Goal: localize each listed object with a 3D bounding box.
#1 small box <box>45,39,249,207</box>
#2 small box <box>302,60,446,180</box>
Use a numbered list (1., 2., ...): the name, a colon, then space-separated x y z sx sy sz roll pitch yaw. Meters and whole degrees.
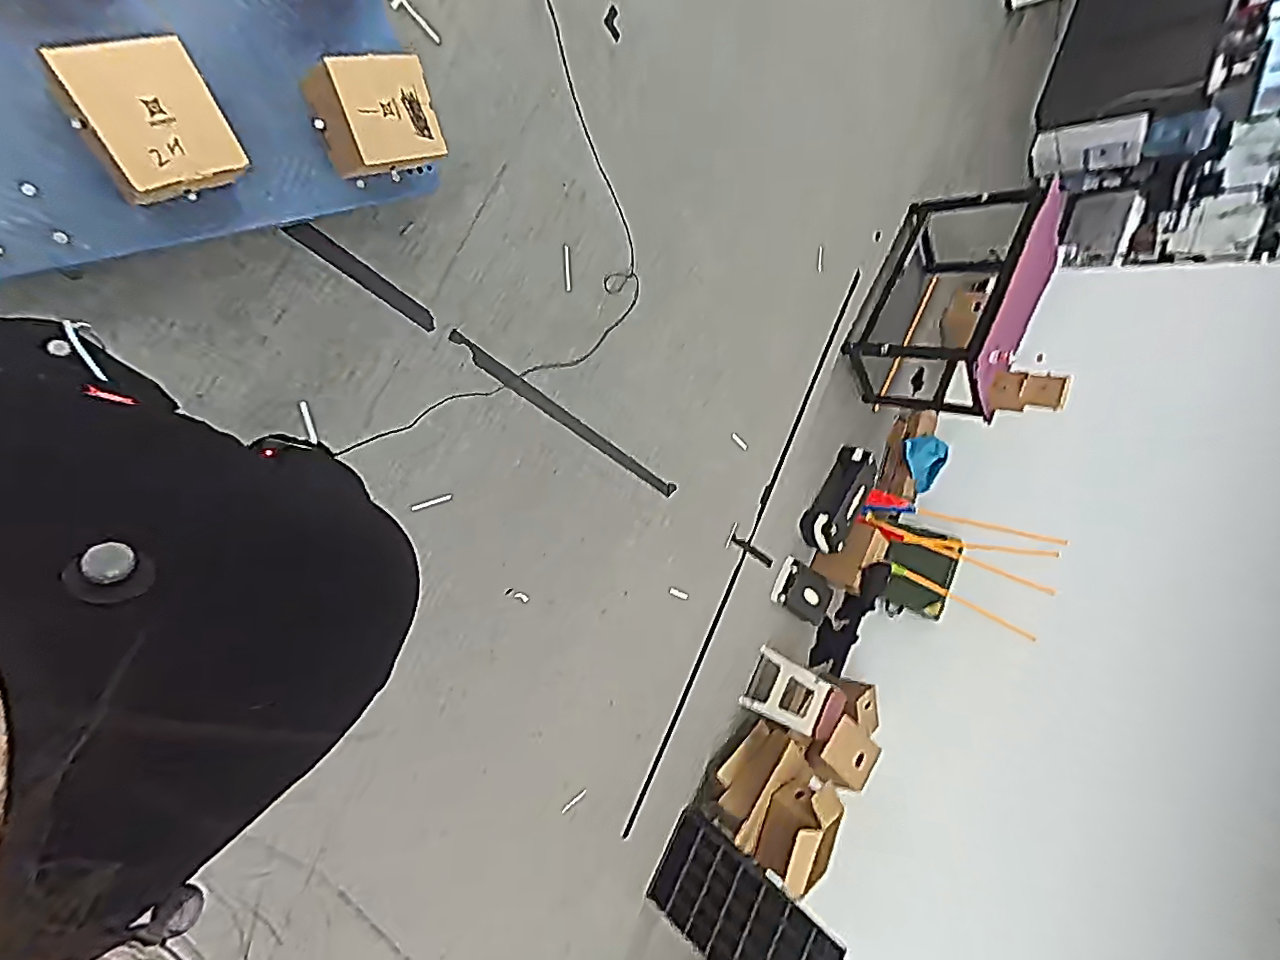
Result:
1. small box: -0.770 -0.553 0.852 0.168 0.176 0.179 -39 128 -31
2. small box: -0.521 -0.702 1.063 0.179 0.176 0.168 -33 125 -34
